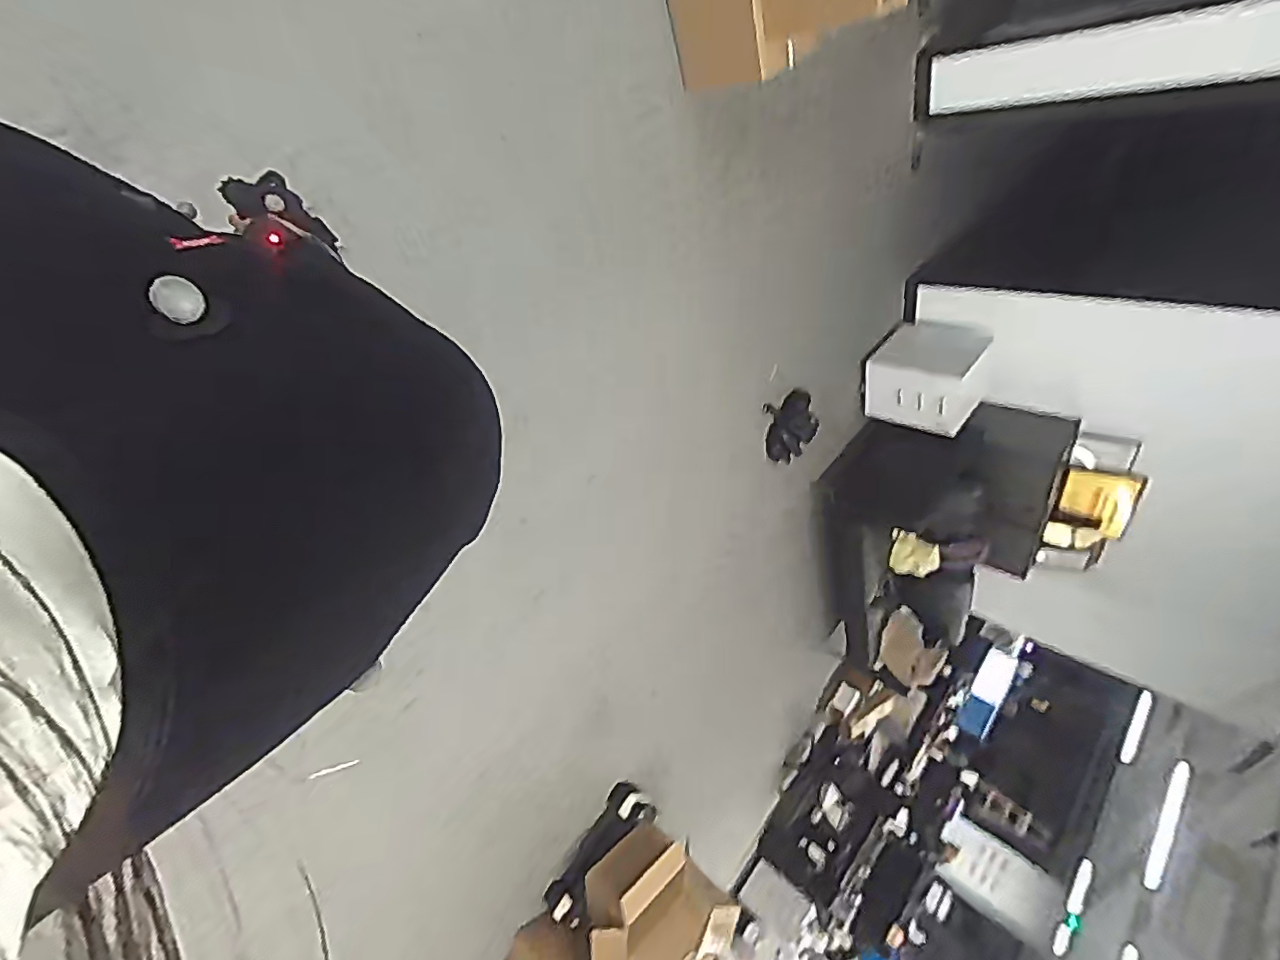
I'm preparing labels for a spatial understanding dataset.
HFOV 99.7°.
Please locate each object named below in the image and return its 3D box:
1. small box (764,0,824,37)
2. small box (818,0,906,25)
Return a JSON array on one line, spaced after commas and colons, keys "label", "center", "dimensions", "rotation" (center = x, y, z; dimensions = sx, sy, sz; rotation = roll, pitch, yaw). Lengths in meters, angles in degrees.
[{"label": "small box", "center": [0.450, -1.352, 1.475], "dimensions": [0.168, 0.176, 0.179], "rotation": [-42, 136, -23]}, {"label": "small box", "center": [0.566, -1.293, 1.375], "dimensions": [0.168, 0.176, 0.179], "rotation": [-43, 136, -22]}]
